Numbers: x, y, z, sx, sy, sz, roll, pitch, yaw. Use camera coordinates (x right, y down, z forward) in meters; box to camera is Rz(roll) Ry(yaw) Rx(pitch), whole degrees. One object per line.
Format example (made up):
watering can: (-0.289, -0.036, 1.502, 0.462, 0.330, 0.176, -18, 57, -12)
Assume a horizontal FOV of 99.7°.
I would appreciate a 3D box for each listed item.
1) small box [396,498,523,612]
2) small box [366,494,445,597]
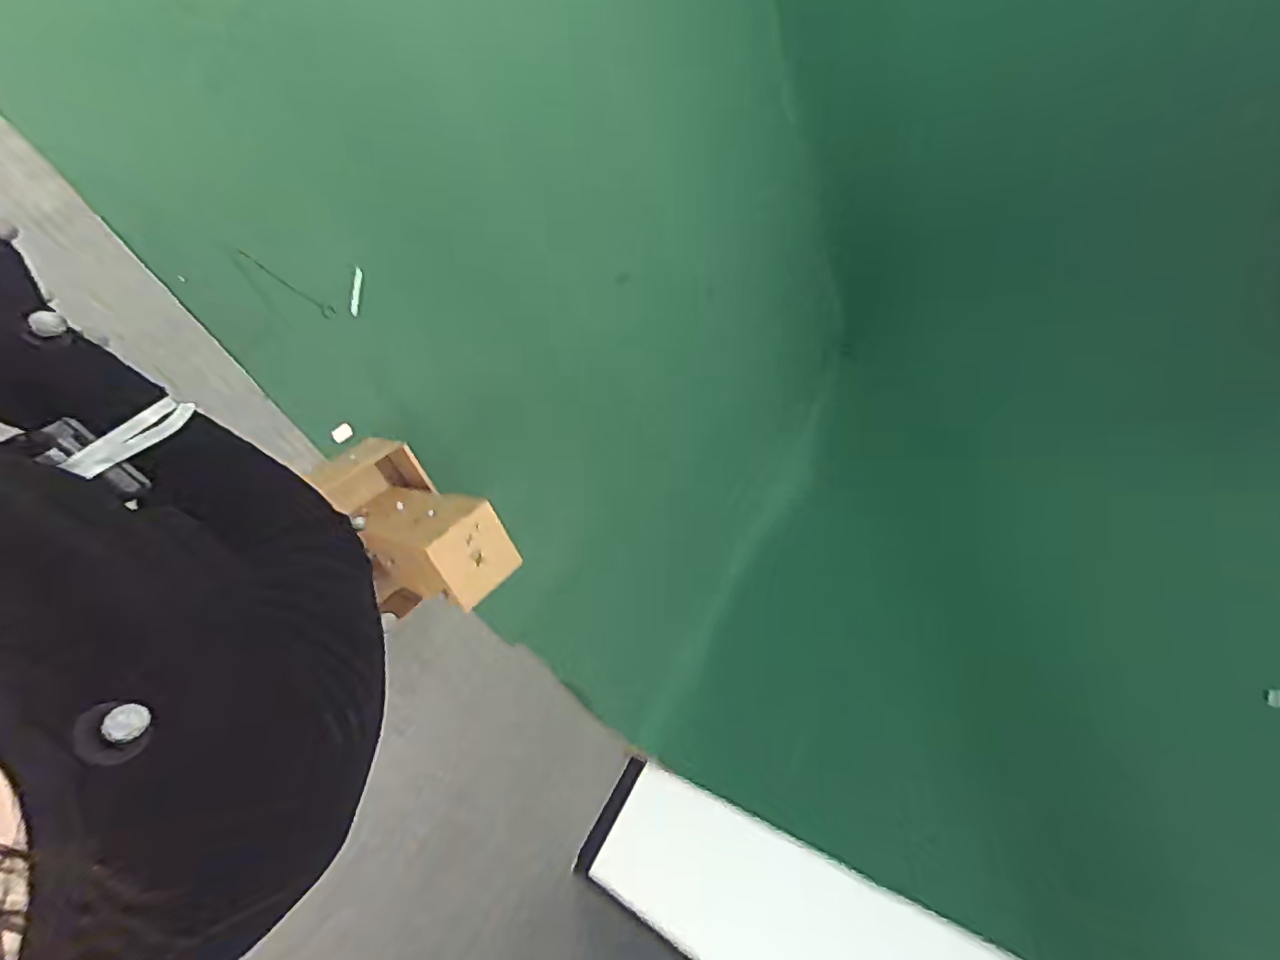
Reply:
small box: (-0.399, 0.157, 1.198, 0.168, 0.176, 0.179, -43, 123, -36)
small box: (-0.521, 0.150, 1.309, 0.168, 0.176, 0.179, -41, 121, -37)
